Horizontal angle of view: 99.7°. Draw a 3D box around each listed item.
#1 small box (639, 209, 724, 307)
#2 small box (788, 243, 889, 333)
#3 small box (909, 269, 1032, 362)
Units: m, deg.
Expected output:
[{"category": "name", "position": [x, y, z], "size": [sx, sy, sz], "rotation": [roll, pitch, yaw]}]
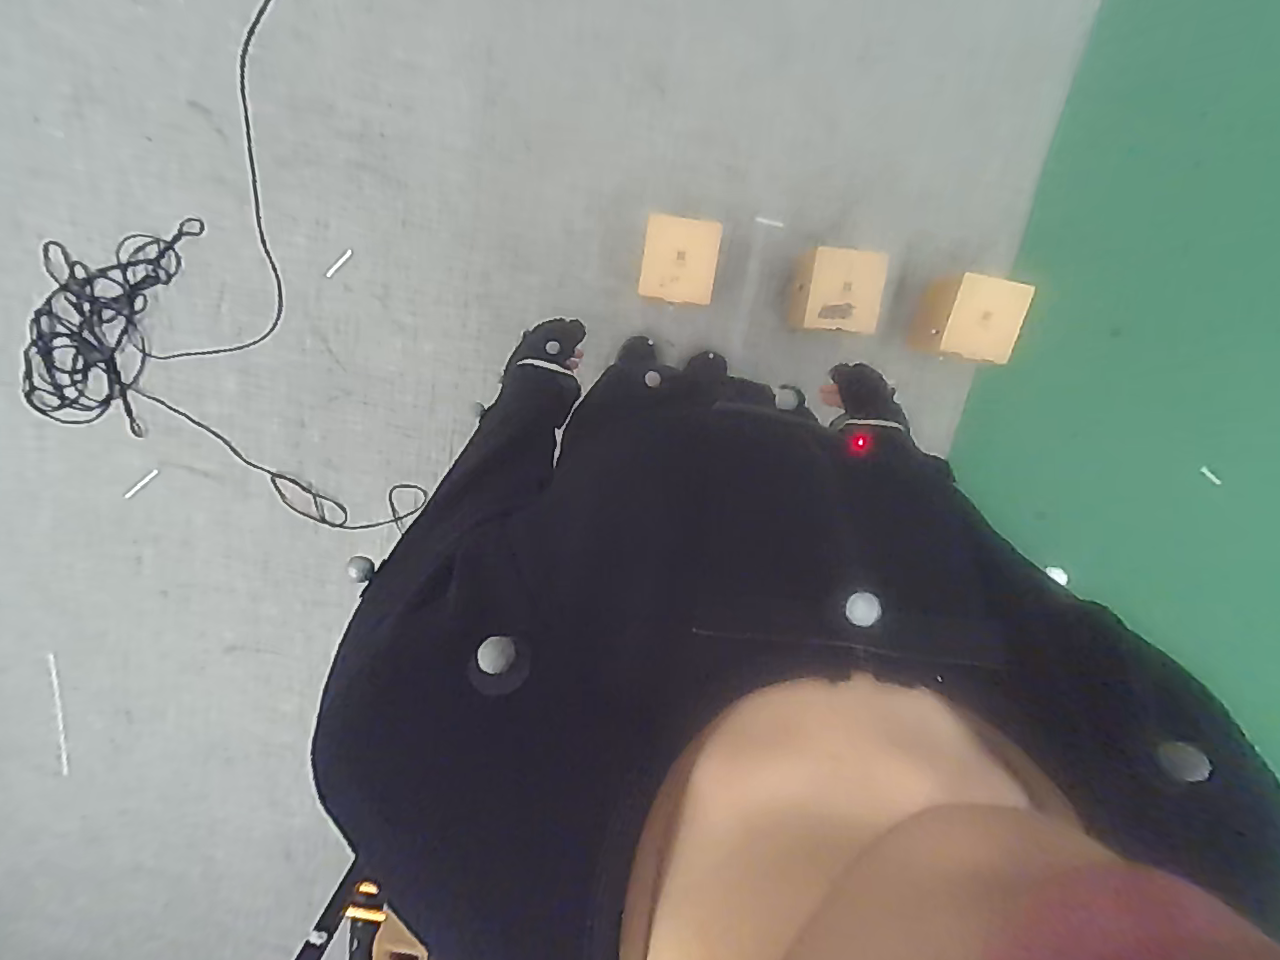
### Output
[{"category": "small box", "position": [0.093, -0.516, 1.279], "size": [0.168, 0.176, 0.179], "rotation": [9, 105, 0]}, {"category": "small box", "position": [0.462, -0.449, 1.289], "size": [0.168, 0.176, 0.179], "rotation": [6, 104, -1]}, {"category": "small box", "position": [0.780, -0.390, 1.298], "size": [0.168, 0.176, 0.179], "rotation": [12, 105, -1]}]
